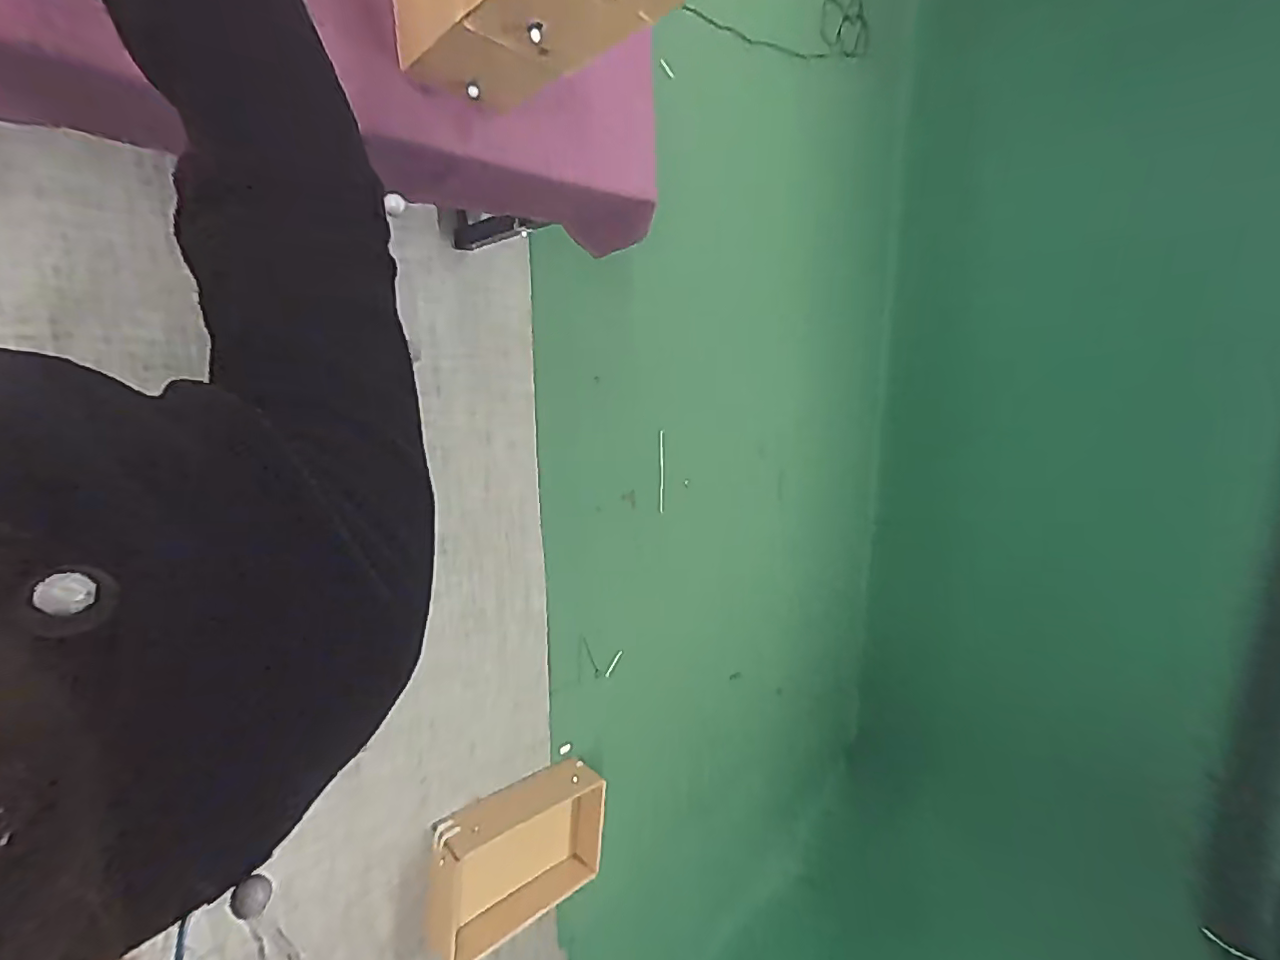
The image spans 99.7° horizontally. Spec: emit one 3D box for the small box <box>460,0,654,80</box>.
[{"bbox_3d":[-0.100,-0.617,0.628,0.168,0.176,0.179,-12,106,-46],"label":"small box"}]

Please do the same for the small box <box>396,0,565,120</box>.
[{"bbox_3d":[-0.220,-0.635,0.736,0.168,0.176,0.179,-12,106,-45],"label":"small box"}]

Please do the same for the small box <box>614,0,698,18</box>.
[{"bbox_3d":[0.019,-0.595,0.516,0.179,0.176,0.168,-10,104,-47],"label":"small box"}]
